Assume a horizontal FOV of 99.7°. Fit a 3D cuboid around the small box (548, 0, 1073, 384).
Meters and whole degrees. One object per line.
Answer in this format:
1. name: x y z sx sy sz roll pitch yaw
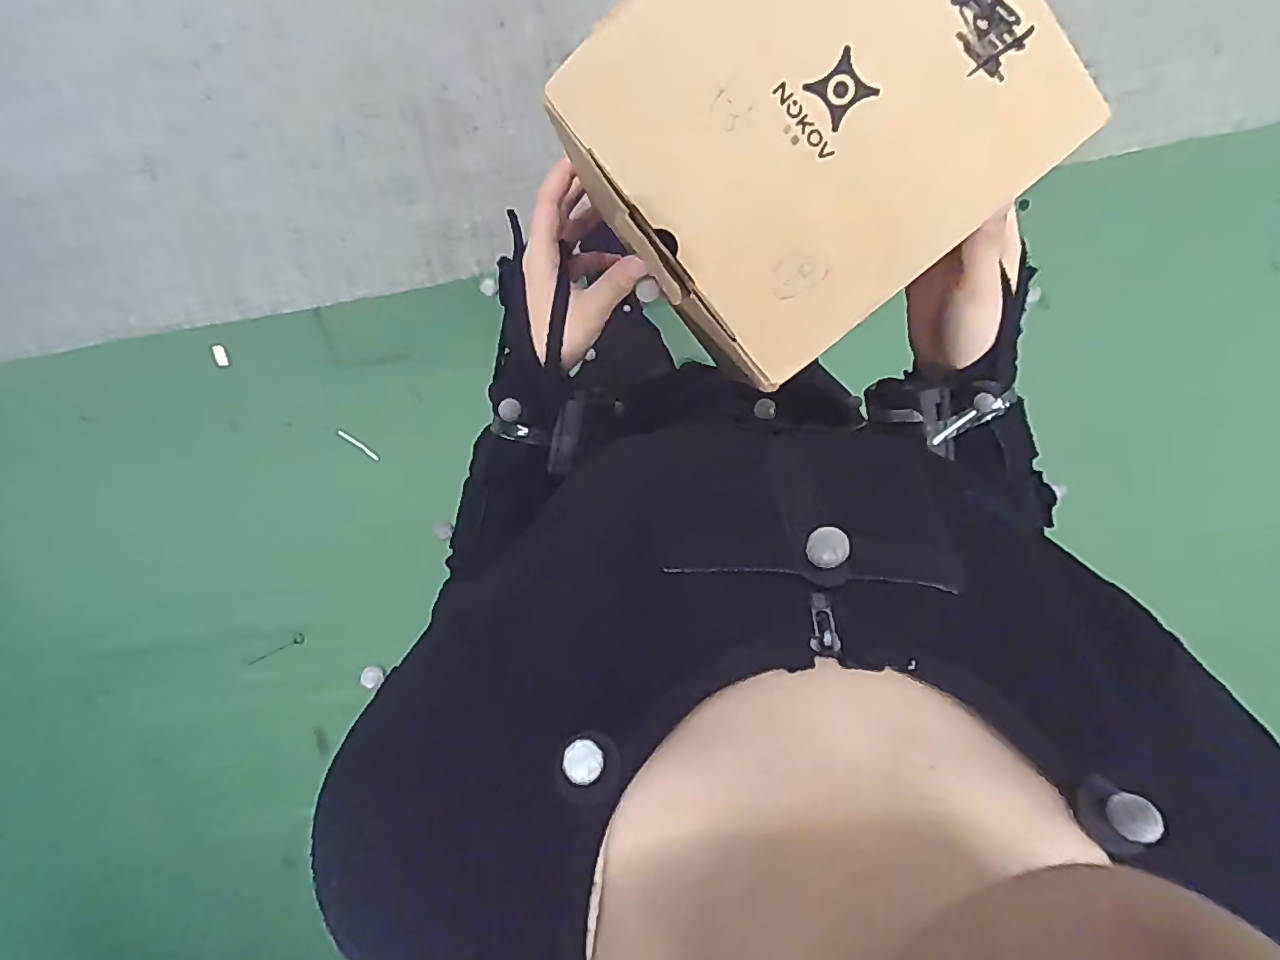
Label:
1. small box: 0.078 -0.175 0.318 0.179 0.176 0.168 -39 98 10
